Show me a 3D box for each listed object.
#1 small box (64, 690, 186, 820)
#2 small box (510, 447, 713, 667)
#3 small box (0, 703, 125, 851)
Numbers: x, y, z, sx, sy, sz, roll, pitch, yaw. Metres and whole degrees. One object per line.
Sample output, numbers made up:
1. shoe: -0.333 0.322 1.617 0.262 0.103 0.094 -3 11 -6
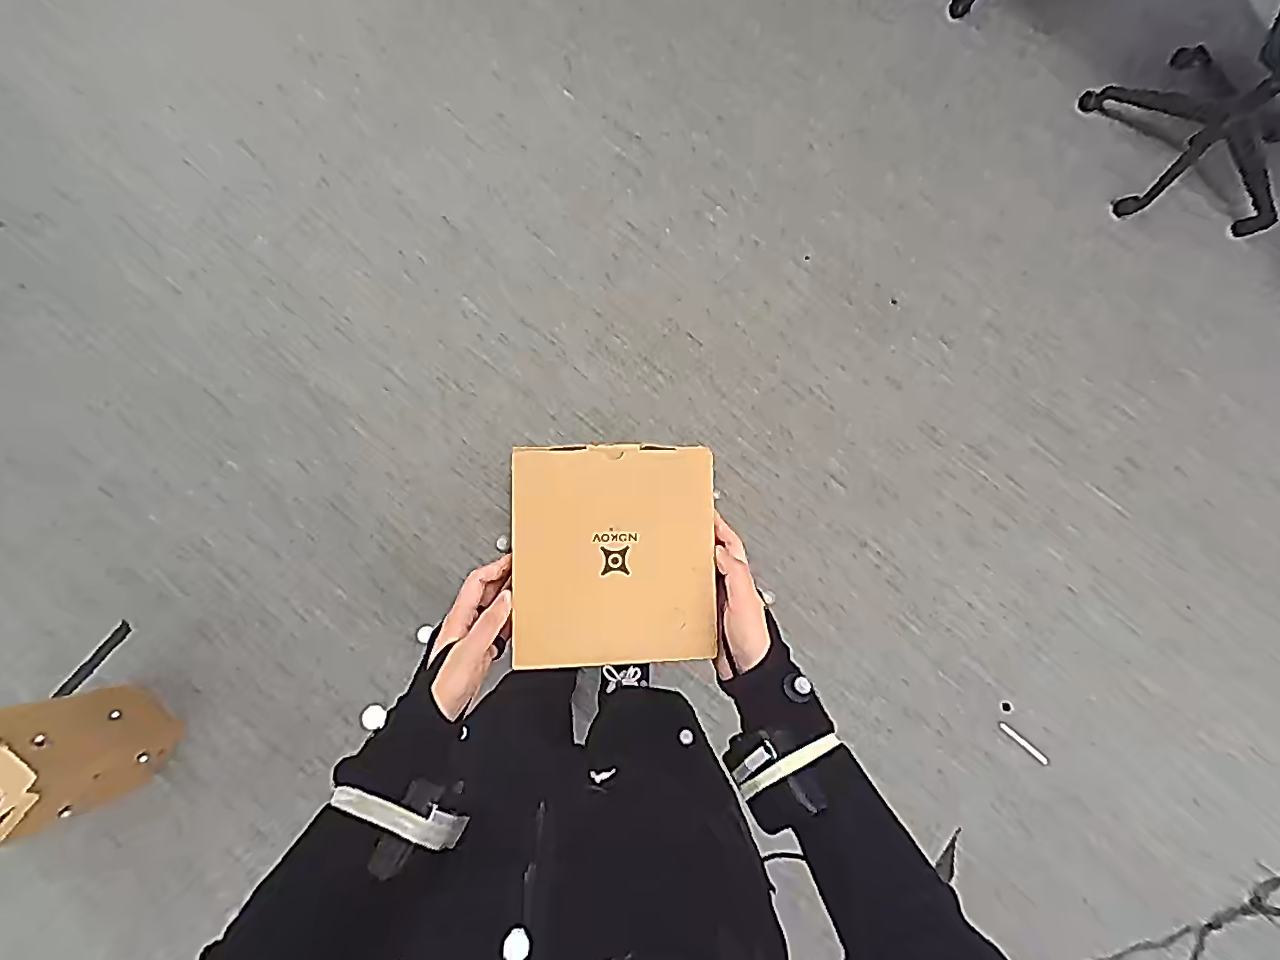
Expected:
1. small box: -1.155 0.579 1.170 0.179 0.176 0.168 34 79 5
2. small box: -0.029 0.066 0.515 0.168 0.176 0.179 0 85 -7
3. small box: -1.144 0.546 1.009 0.179 0.176 0.168 35 80 4
